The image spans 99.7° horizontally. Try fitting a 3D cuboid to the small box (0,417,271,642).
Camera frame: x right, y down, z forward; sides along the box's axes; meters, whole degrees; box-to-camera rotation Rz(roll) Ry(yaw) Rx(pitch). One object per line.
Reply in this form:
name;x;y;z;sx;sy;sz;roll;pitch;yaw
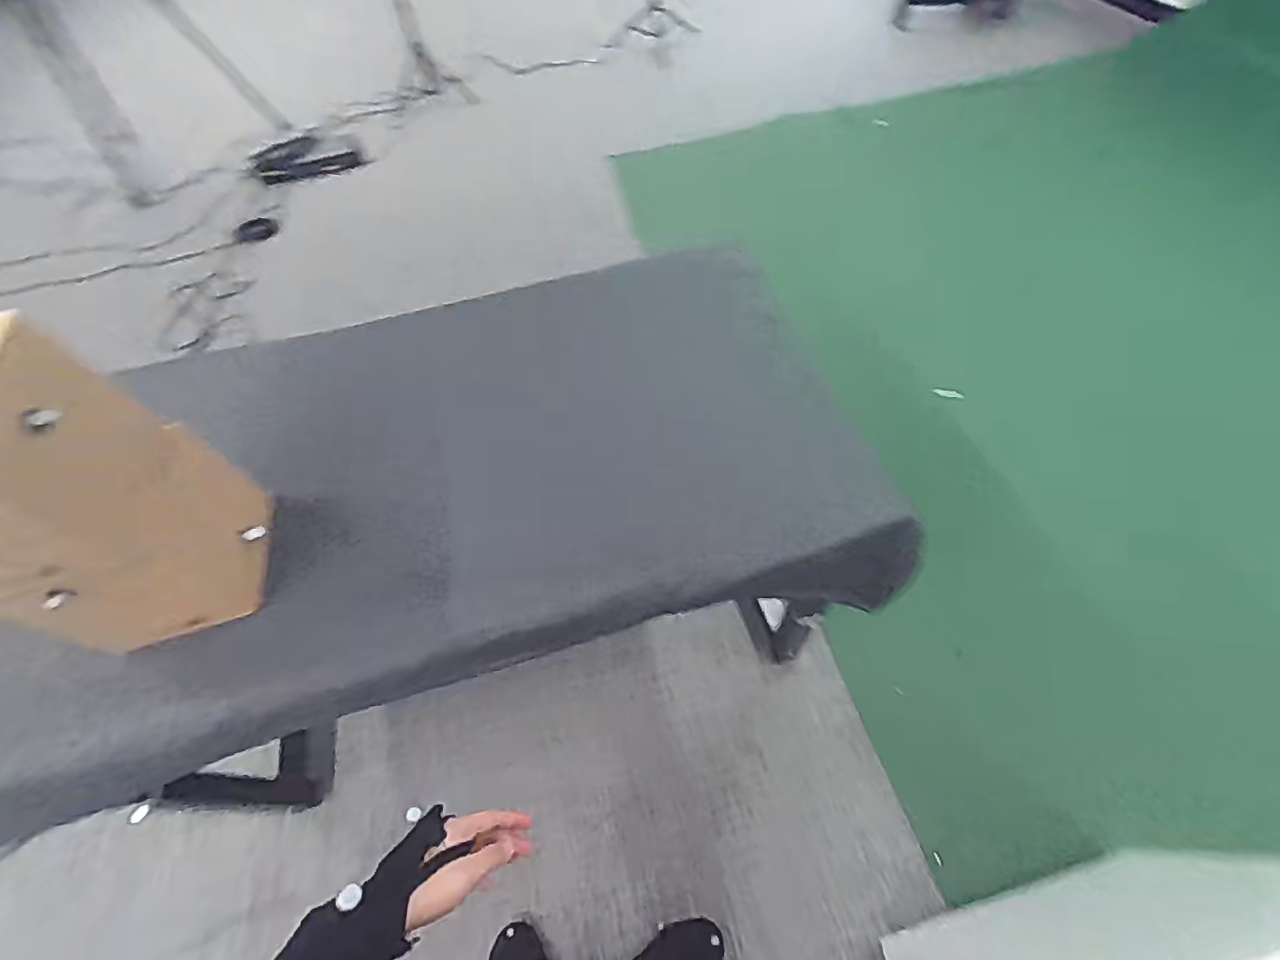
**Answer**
small box;-0.563;0.061;0.624;0.168;0.176;0.179;-16;57;-6
